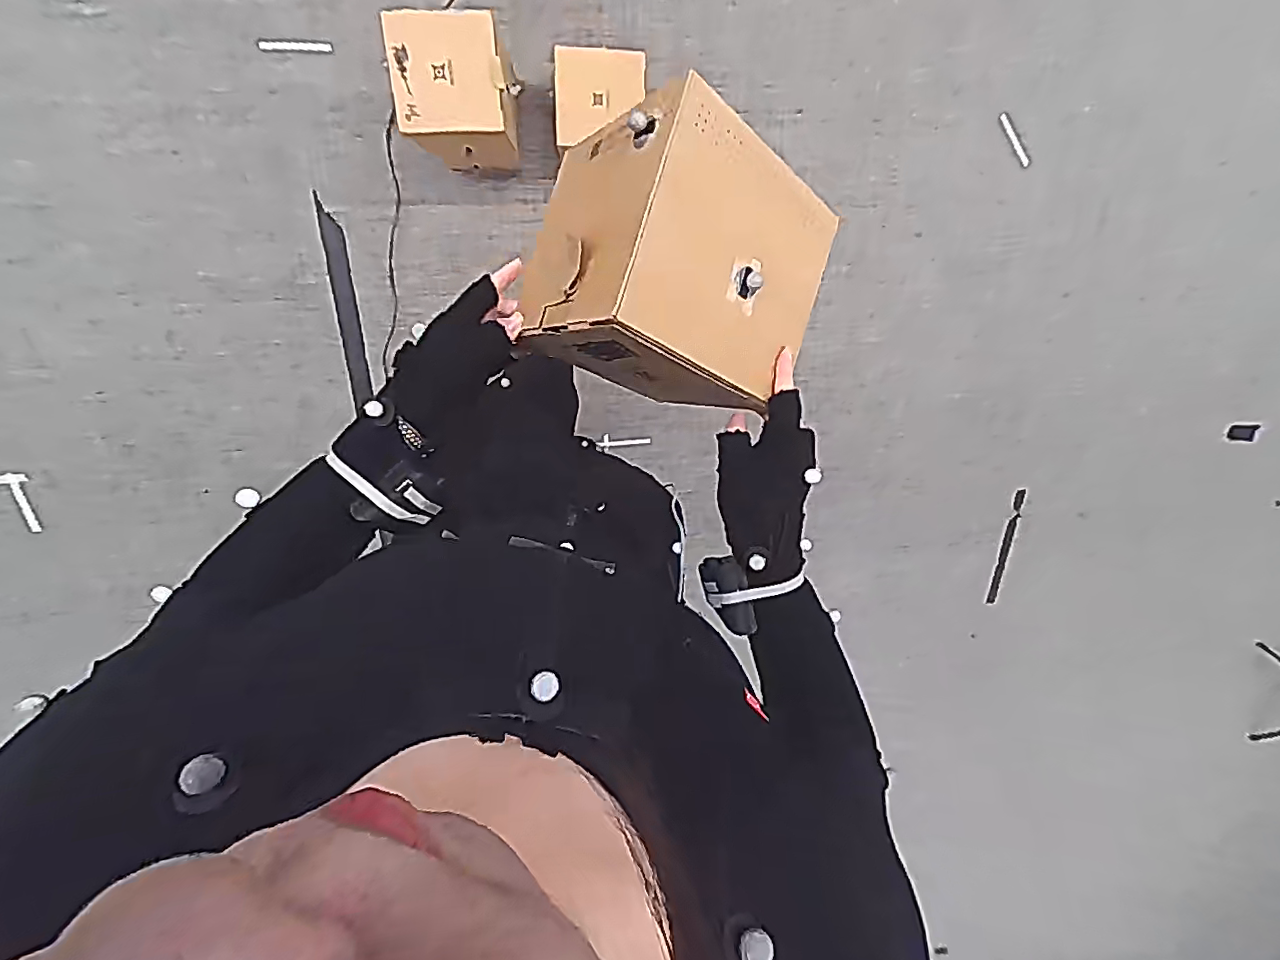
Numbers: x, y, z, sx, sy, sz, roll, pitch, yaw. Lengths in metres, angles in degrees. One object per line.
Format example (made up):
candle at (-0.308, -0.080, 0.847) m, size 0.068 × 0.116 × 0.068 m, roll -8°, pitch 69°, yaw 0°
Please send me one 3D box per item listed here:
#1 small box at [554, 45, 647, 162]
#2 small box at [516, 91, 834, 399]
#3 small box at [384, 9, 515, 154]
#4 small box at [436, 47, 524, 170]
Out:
small box at (-0.083, -0.763, 1.116) m, size 0.179 × 0.176 × 0.168 m, roll -1°, pitch 111°, yaw -7°
small box at (0.029, -0.178, 0.450) m, size 0.179 × 0.168 × 0.176 m, roll 18°, pitch 89°, yaw -37°
small box at (-0.317, -0.682, 0.943) m, size 0.179 × 0.176 × 0.168 m, roll -3°, pitch 111°, yaw -5°
small box at (-0.332, -0.744, 1.094) m, size 0.168 × 0.176 × 0.179 m, roll -2°, pitch 112°, yaw -4°
